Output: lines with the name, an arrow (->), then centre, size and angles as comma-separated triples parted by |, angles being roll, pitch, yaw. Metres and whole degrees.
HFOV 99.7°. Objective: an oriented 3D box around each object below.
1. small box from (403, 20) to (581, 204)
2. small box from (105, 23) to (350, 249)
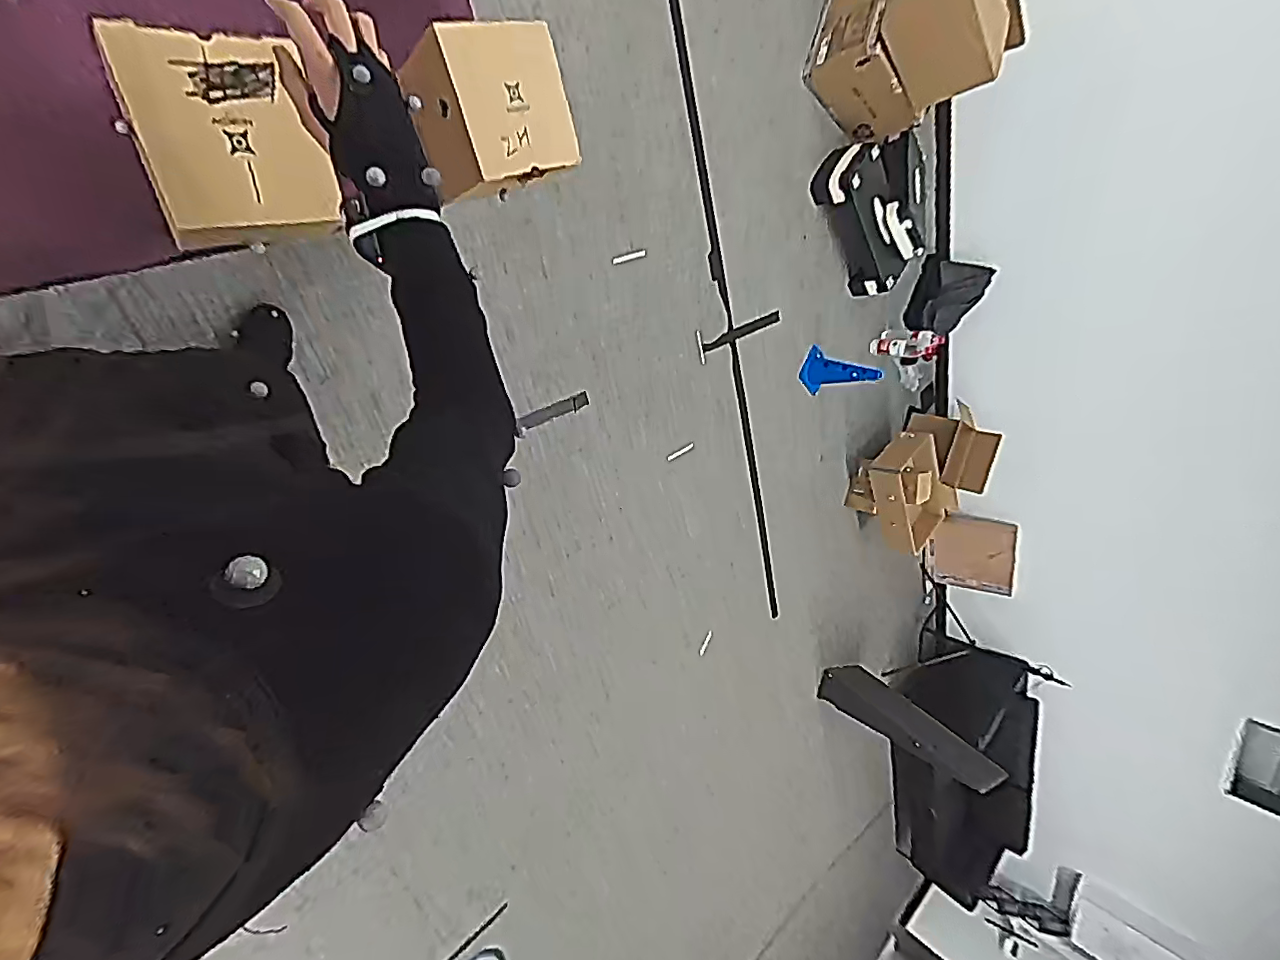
small box -> -0.217, -0.524, 0.785 | 0.168, 0.176, 0.179 | -30, 119, -29
small box -> -0.465, -0.375, 0.622 | 0.168, 0.176, 0.179 | -23, 116, -33
